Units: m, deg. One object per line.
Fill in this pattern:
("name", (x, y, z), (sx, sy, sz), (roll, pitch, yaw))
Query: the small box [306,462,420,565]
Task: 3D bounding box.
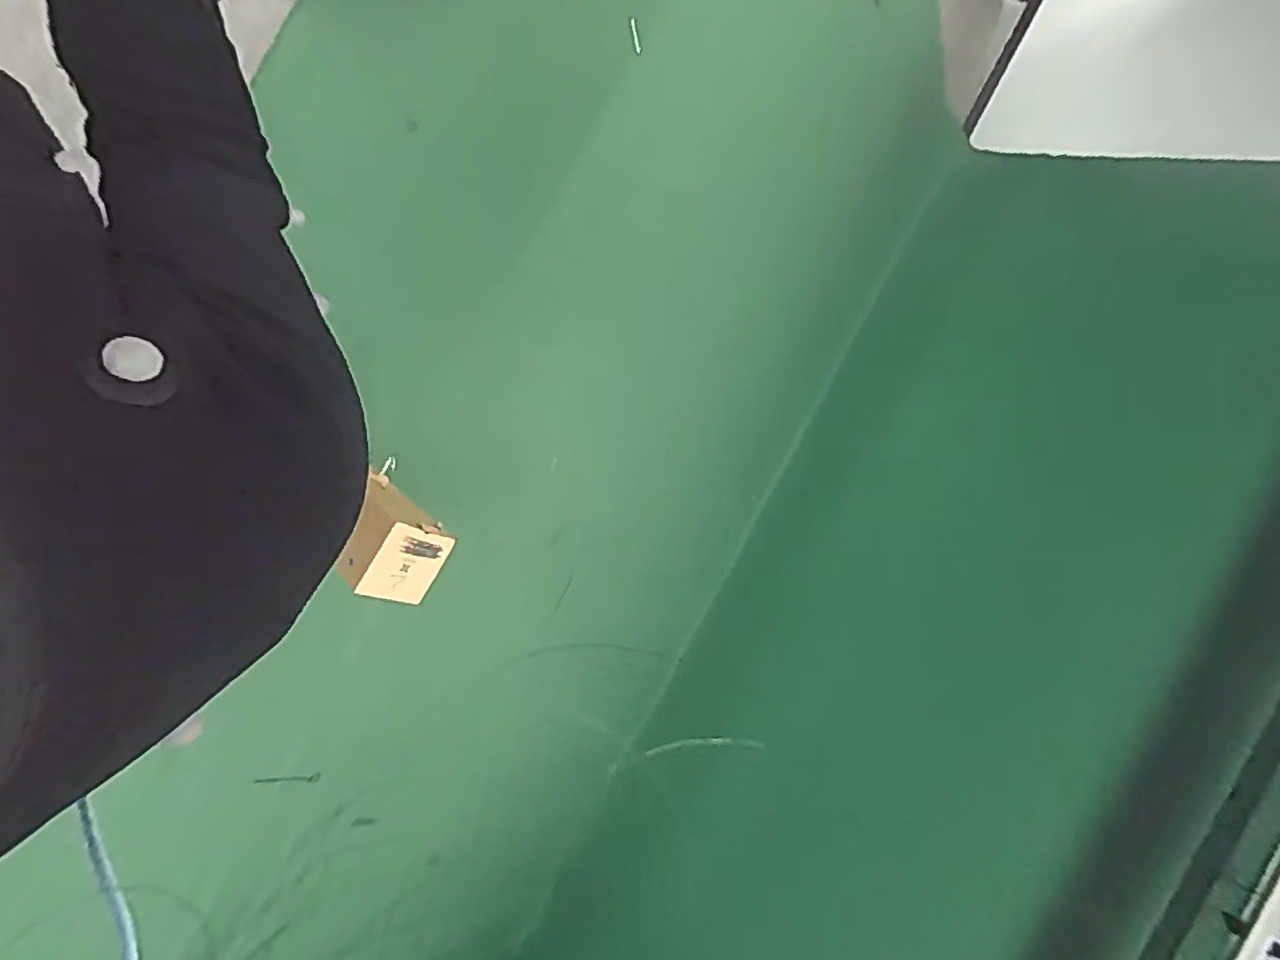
("small box", (-0.692, 0.082, 1.340), (0.179, 0.176, 0.168), (-60, 144, -3))
